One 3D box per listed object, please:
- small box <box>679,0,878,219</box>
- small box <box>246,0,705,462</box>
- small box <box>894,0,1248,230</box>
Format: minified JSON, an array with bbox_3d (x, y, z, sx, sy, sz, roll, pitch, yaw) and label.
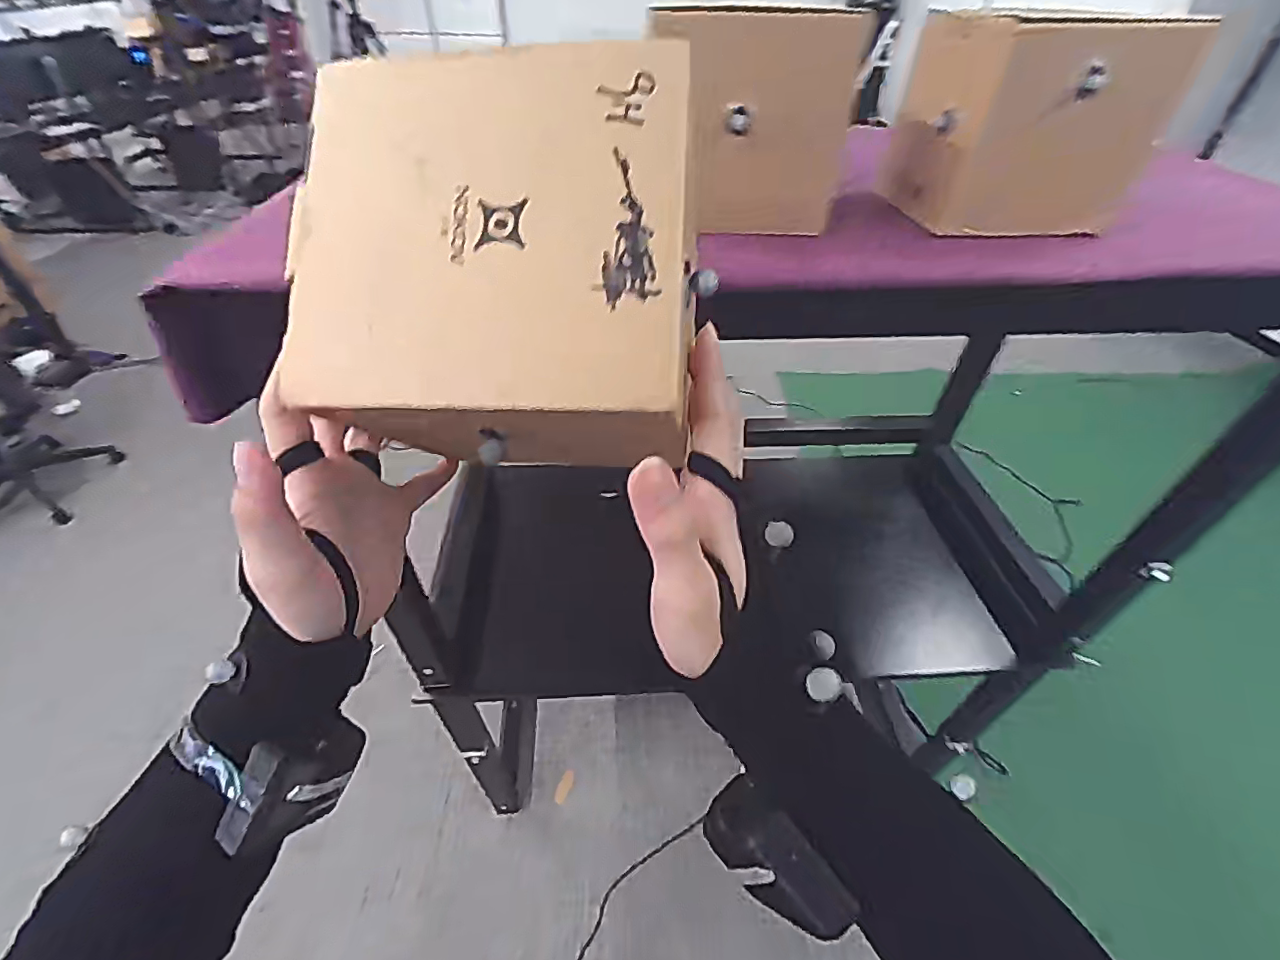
[{"bbox_3d":[0.090,-0.357,0.505,0.179,0.176,0.168,2,43,1],"label":"small box"},{"bbox_3d":[-0.059,-0.103,0.295,0.179,0.176,0.168,4,86,8],"label":"small box"},{"bbox_3d":[0.365,-0.349,0.511,0.179,0.176,0.168,0,44,-2],"label":"small box"}]
